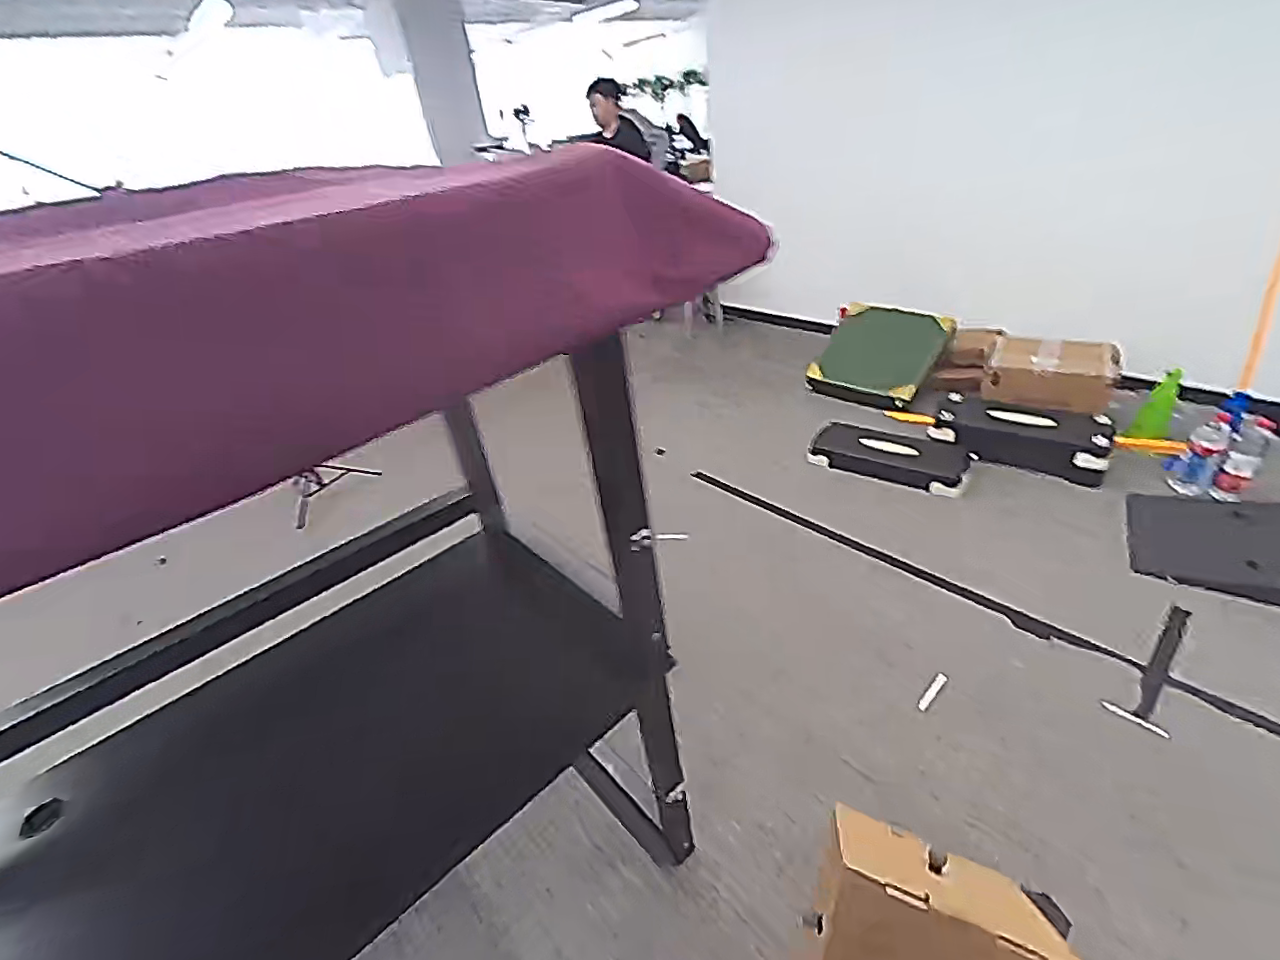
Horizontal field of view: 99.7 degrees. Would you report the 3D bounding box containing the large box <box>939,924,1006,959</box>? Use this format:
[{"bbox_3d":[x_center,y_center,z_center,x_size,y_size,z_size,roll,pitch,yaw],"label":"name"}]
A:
[{"bbox_3d":[0.512,1.018,0.804,0.408,0.320,0.320,-28,40,-28],"label":"large box"}]
